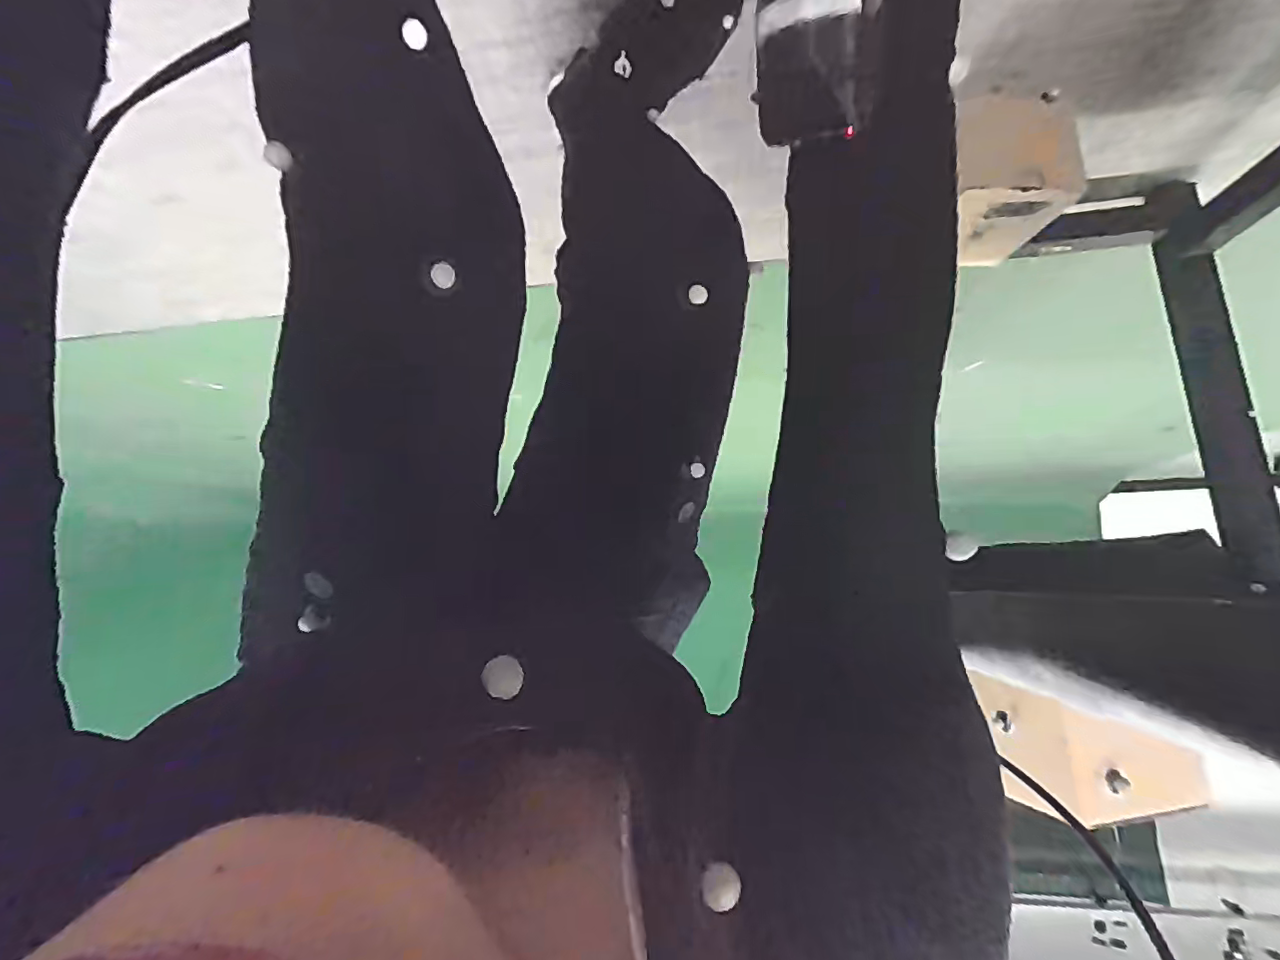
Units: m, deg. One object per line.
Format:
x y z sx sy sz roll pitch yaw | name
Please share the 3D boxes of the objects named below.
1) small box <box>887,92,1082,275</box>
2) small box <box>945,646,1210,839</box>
0.481 -0.422 0.786 0.168 0.176 0.179 0 169 -3 | small box
0.505 0.296 0.650 0.179 0.176 0.168 -1 168 -12 | small box
